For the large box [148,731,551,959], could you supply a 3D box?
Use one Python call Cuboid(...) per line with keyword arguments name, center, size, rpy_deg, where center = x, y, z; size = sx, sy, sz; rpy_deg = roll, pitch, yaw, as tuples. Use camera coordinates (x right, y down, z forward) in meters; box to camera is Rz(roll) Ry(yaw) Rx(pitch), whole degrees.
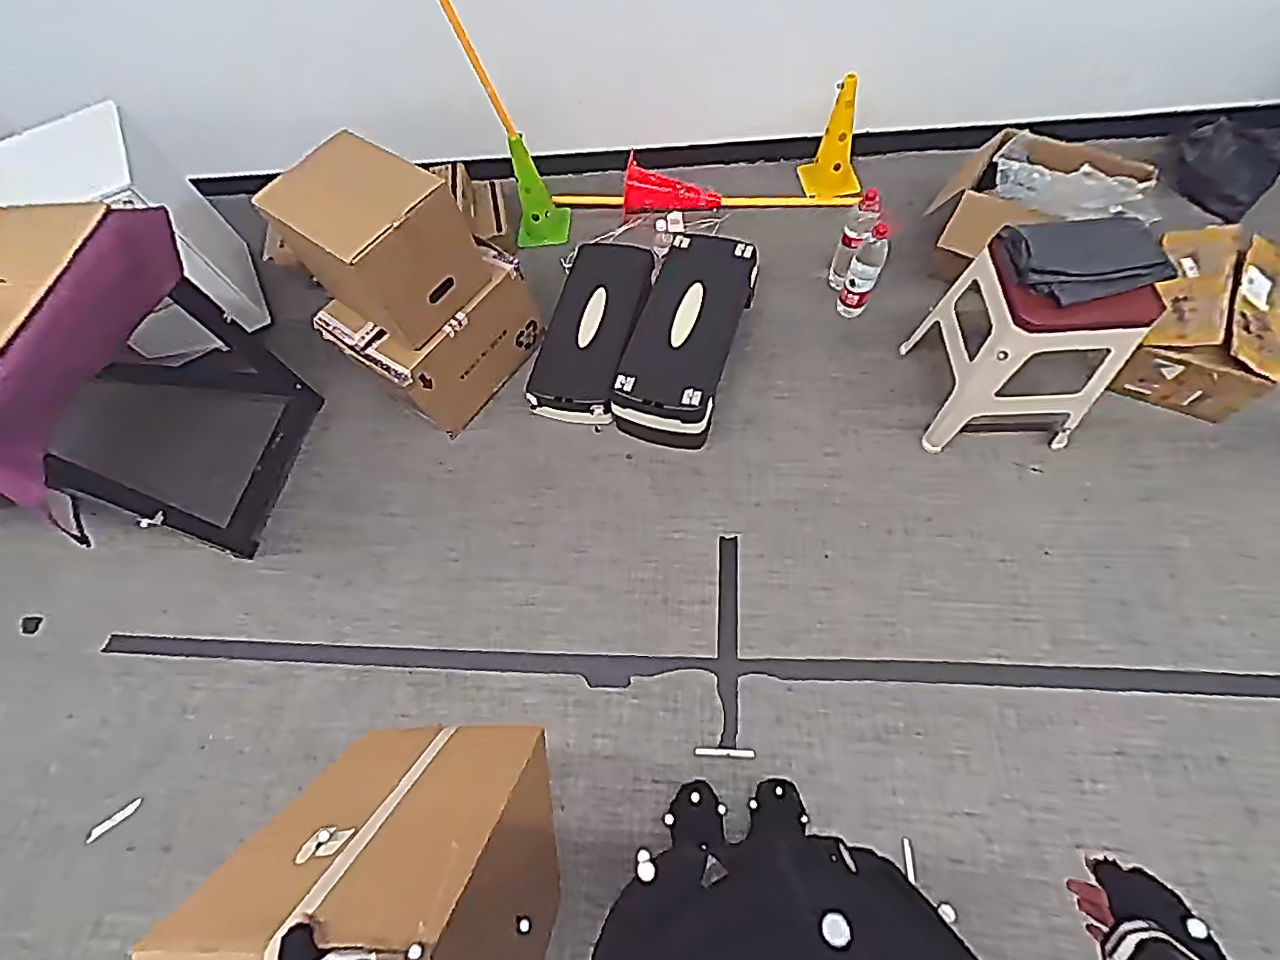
Cuboid(name="large box", center=(-0.326, 0.603, 0.744), size=(0.320, 0.408, 0.320), rpy_deg=(-5, 96, 6))
